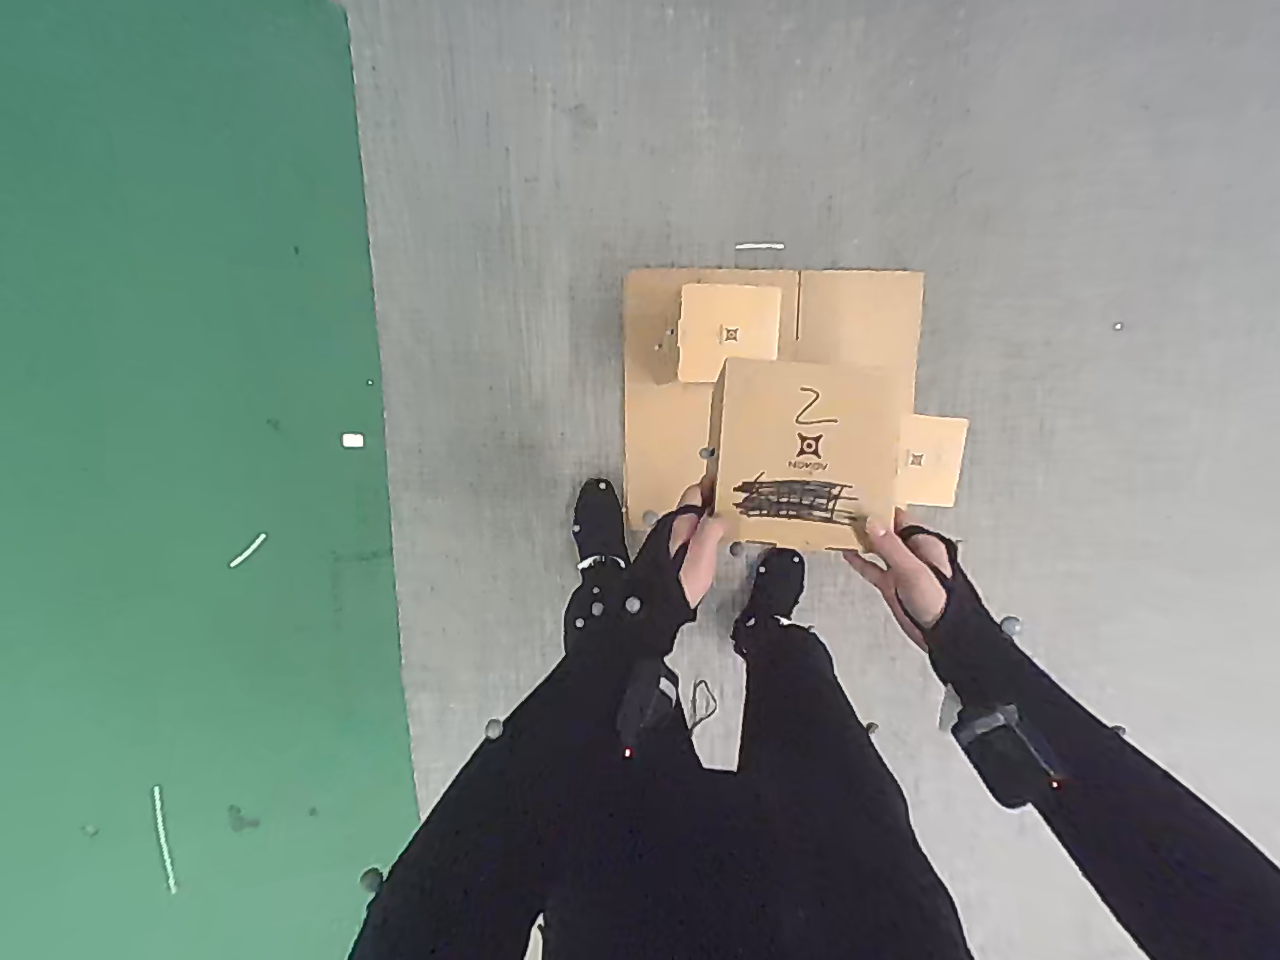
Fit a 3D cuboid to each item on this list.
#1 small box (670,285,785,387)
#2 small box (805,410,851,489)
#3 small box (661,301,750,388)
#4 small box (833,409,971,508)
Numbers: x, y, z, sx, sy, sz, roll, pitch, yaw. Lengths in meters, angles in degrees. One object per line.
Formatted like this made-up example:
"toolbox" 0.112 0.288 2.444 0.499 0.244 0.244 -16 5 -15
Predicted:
"small box" 0.154 -0.259 1.003 0.179 0.176 0.168 1 100 -2
"small box" 0.491 -0.070 1.214 0.179 0.176 0.168 2 98 -2
"small box" 0.141 -0.285 1.163 0.179 0.176 0.168 1 98 -2
"small box" 0.496 -0.048 1.051 0.179 0.176 0.168 5 99 -3
